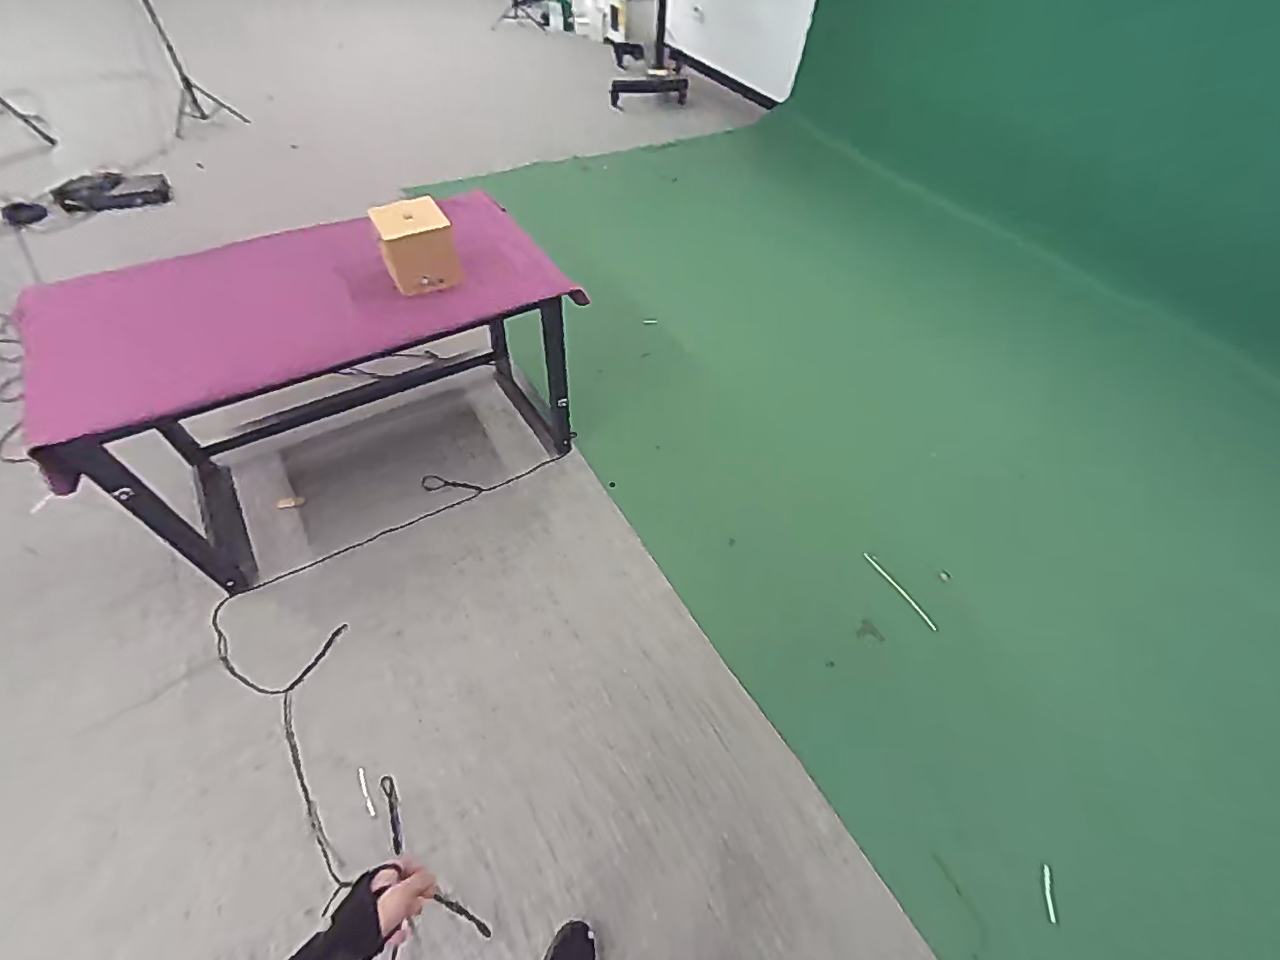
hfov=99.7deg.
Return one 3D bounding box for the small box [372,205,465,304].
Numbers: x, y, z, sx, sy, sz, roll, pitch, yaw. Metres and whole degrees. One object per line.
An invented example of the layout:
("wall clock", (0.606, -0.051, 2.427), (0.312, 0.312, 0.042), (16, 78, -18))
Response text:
("small box", (-0.585, -0.599, 1.438), (0.168, 0.176, 0.179), (-24, 57, -19))
